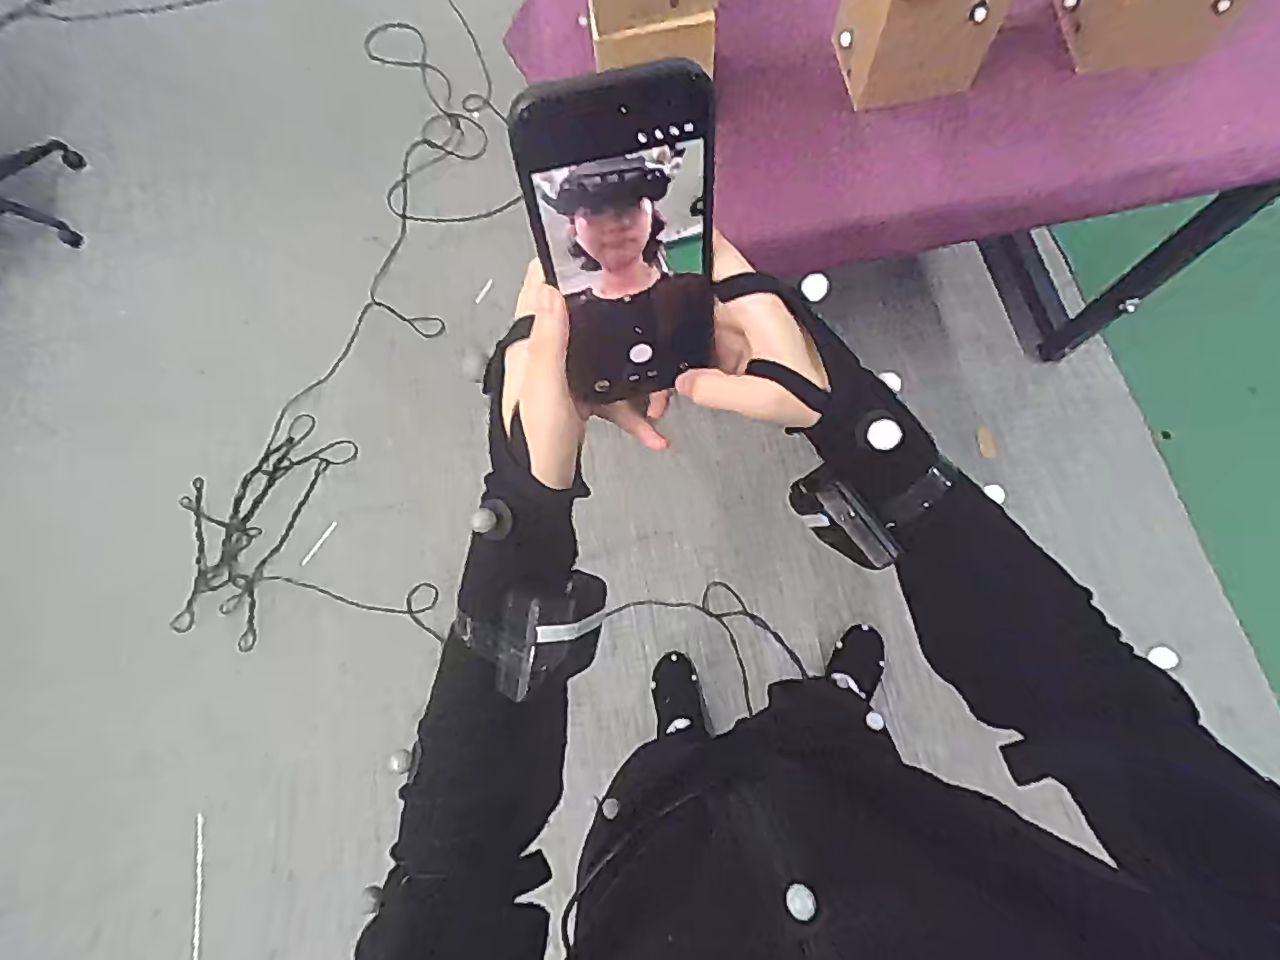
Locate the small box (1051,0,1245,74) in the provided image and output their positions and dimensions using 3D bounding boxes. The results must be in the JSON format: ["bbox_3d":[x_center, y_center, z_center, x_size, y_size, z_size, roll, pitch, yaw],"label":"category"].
[{"bbox_3d":[0.743,-0.723,0.770,0.179,0.176,0.168,-2,73,5],"label":"small box"}]

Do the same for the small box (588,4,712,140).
[{"bbox_3d":[0.017,-0.650,0.820,0.168,0.176,0.179,-8,73,3],"label":"small box"}]

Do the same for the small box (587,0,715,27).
[{"bbox_3d":[0.000,-0.705,0.665,0.168,0.176,0.179,-13,74,1],"label":"small box"}]

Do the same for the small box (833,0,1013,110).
[{"bbox_3d":[0.405,-0.688,0.791,0.179,0.176,0.168,-8,73,3],"label":"small box"}]
